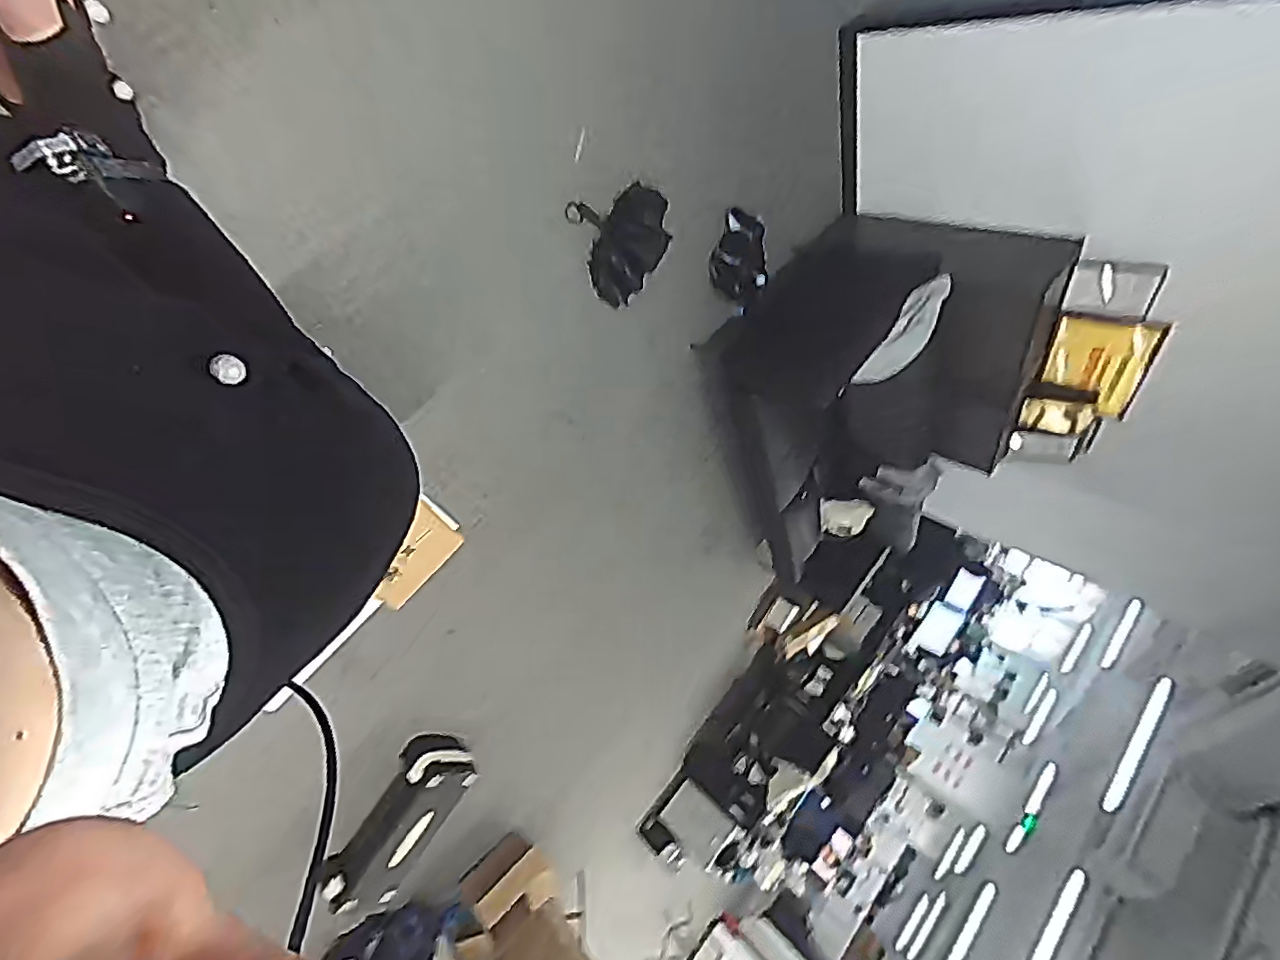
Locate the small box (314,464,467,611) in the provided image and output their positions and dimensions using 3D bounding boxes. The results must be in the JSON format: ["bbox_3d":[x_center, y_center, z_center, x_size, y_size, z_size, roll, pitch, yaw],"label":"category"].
[{"bbox_3d":[-0.469,0.104,1.008,0.179,0.176,0.168,-48,142,-16],"label":"small box"}]
